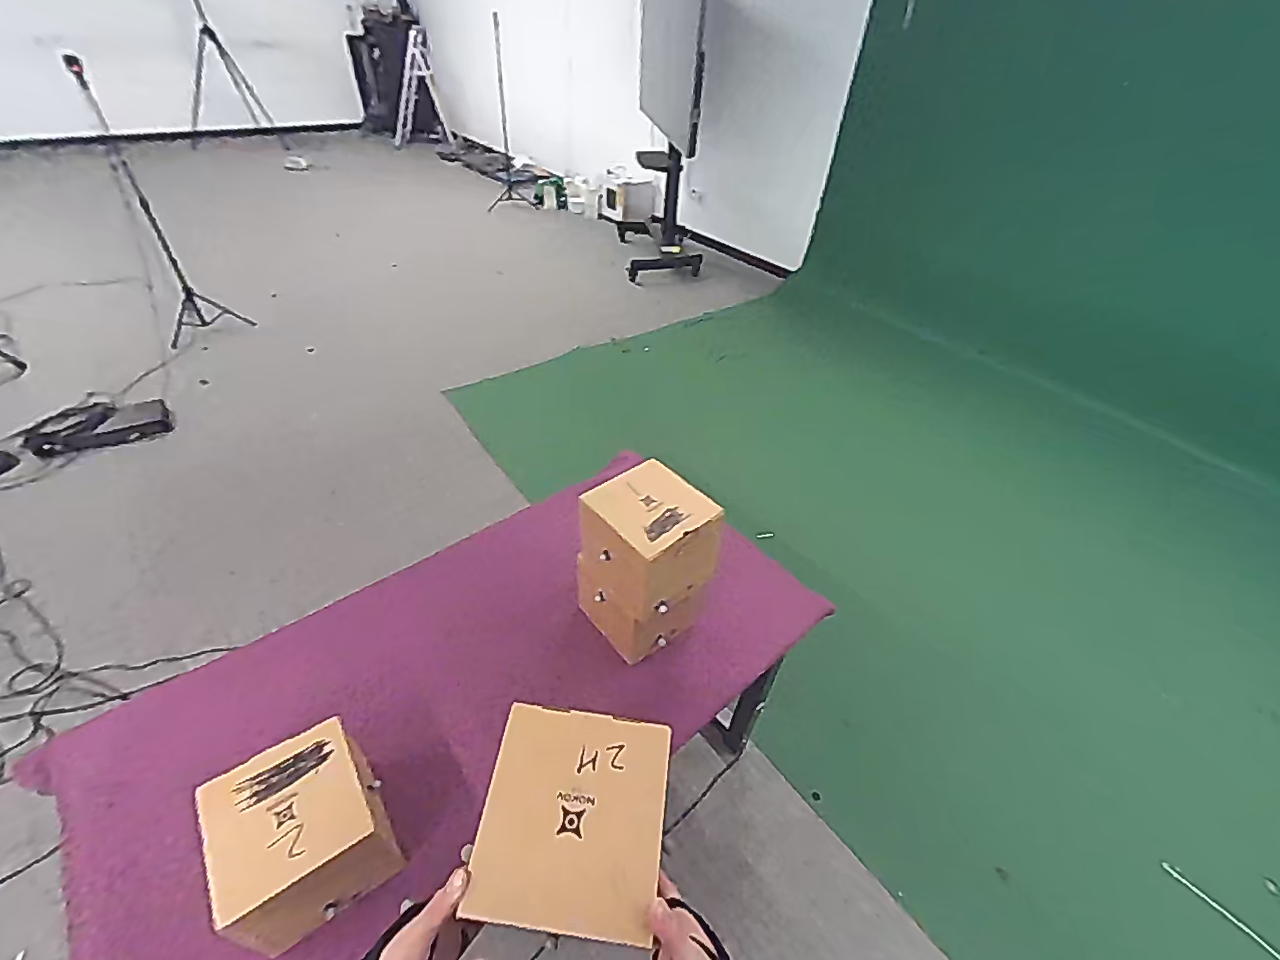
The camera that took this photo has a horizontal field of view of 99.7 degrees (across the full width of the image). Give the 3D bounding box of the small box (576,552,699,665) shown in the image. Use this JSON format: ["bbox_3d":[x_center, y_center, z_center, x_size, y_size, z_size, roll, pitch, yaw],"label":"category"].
[{"bbox_3d":[-0.009,0.217,1.040,0.168,0.176,0.179,-26,49,-28],"label":"small box"}]

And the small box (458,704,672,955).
[{"bbox_3d":[-0.064,0.358,0.558,0.168,0.176,0.179,9,50,3],"label":"small box"}]

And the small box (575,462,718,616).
[{"bbox_3d":[0.009,0.105,0.920,0.168,0.176,0.179,-28,49,-30],"label":"small box"}]
